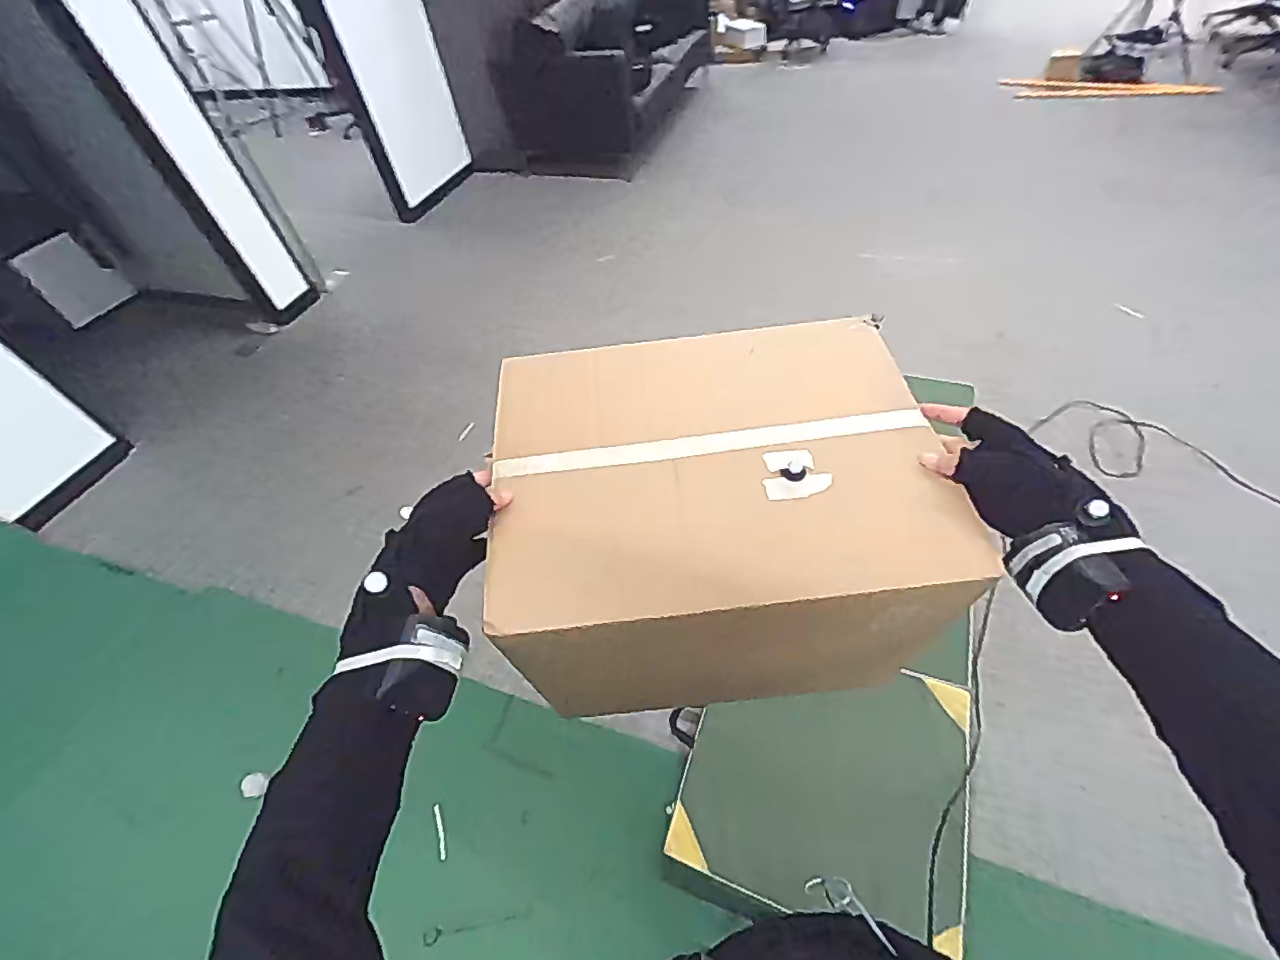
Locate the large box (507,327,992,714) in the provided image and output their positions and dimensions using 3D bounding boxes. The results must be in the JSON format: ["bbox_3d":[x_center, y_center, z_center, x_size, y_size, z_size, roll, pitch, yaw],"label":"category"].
[{"bbox_3d":[0.081,0.060,0.637,0.408,0.320,0.320,-6,55,0],"label":"large box"}]
